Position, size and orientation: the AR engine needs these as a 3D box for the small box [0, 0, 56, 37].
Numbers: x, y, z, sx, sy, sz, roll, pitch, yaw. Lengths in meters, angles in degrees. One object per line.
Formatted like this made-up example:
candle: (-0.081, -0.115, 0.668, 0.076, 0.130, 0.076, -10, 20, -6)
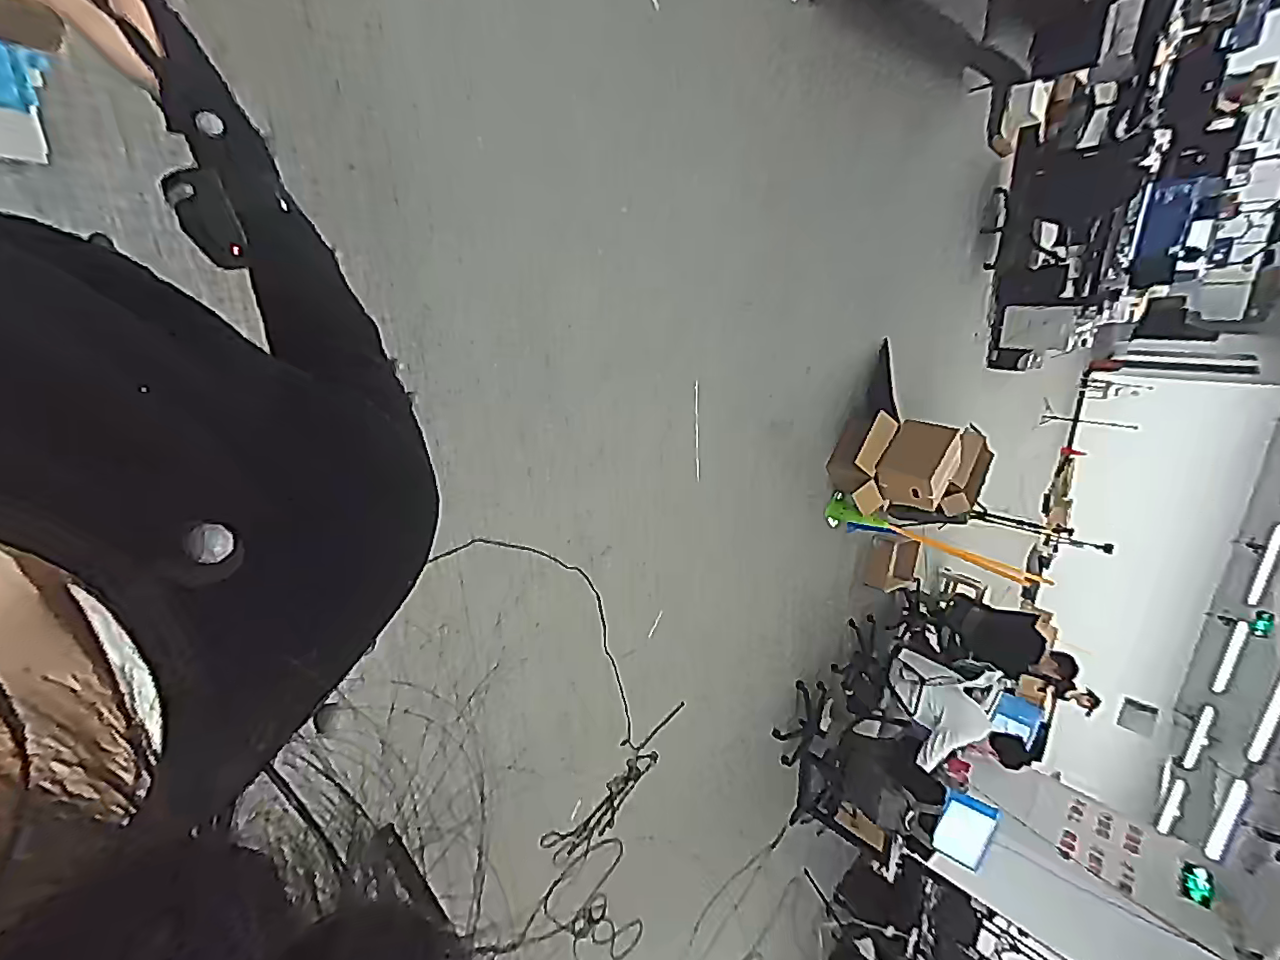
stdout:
small box: (-0.484, -0.407, 0.320, 0.168, 0.176, 0.179, -14, 117, -43)
